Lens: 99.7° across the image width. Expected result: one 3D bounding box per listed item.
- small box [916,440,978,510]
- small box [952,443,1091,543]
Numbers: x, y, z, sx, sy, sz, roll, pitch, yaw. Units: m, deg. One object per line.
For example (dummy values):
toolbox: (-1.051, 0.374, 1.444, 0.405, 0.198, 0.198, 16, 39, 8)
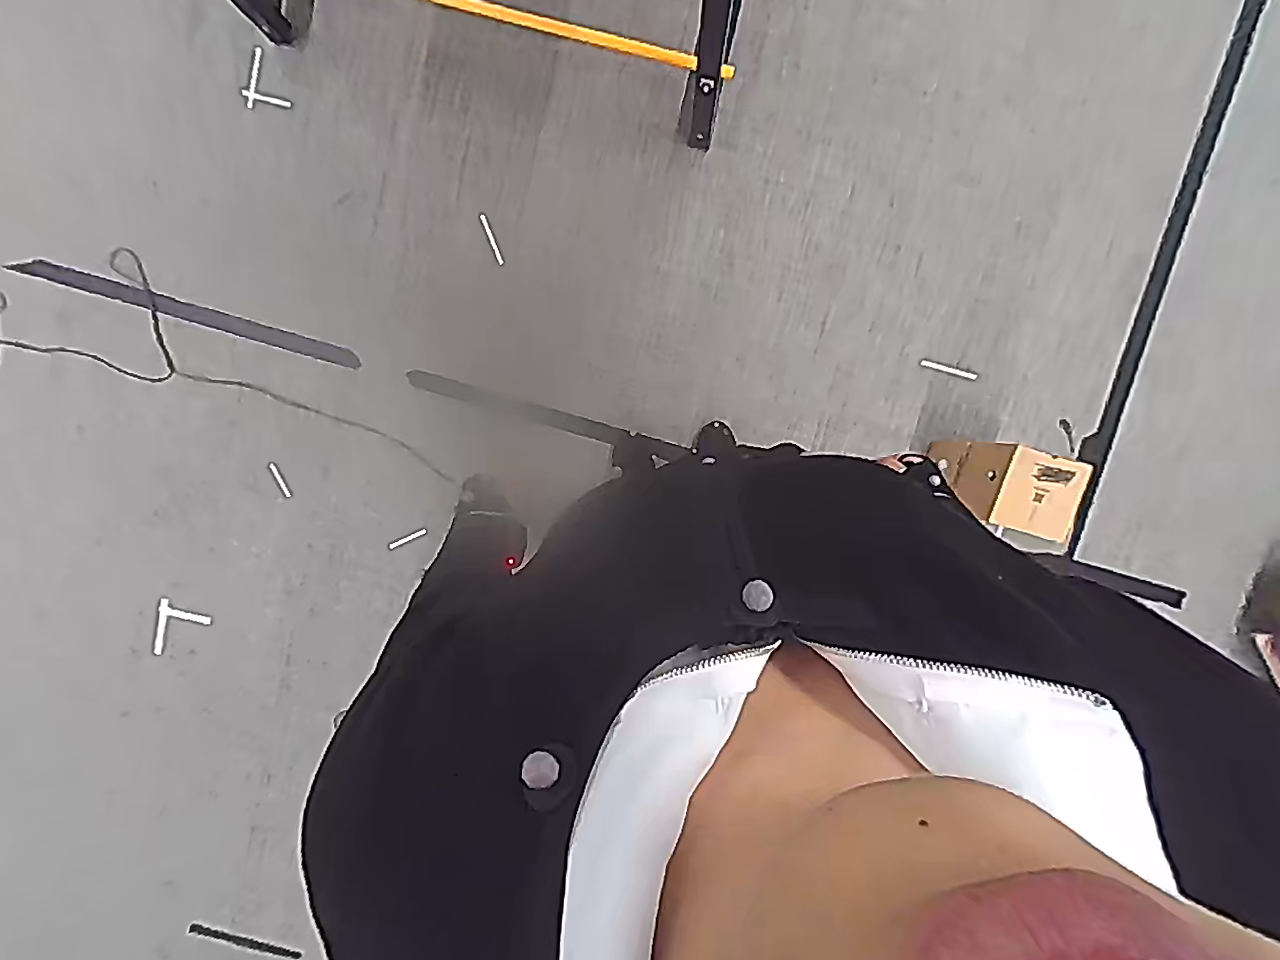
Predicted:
small box: (0.840, 0.001, 1.377, 0.179, 0.176, 0.168, 17, 96, 1)
small box: (0.840, 0.021, 1.212, 0.168, 0.176, 0.179, 17, 96, 0)
